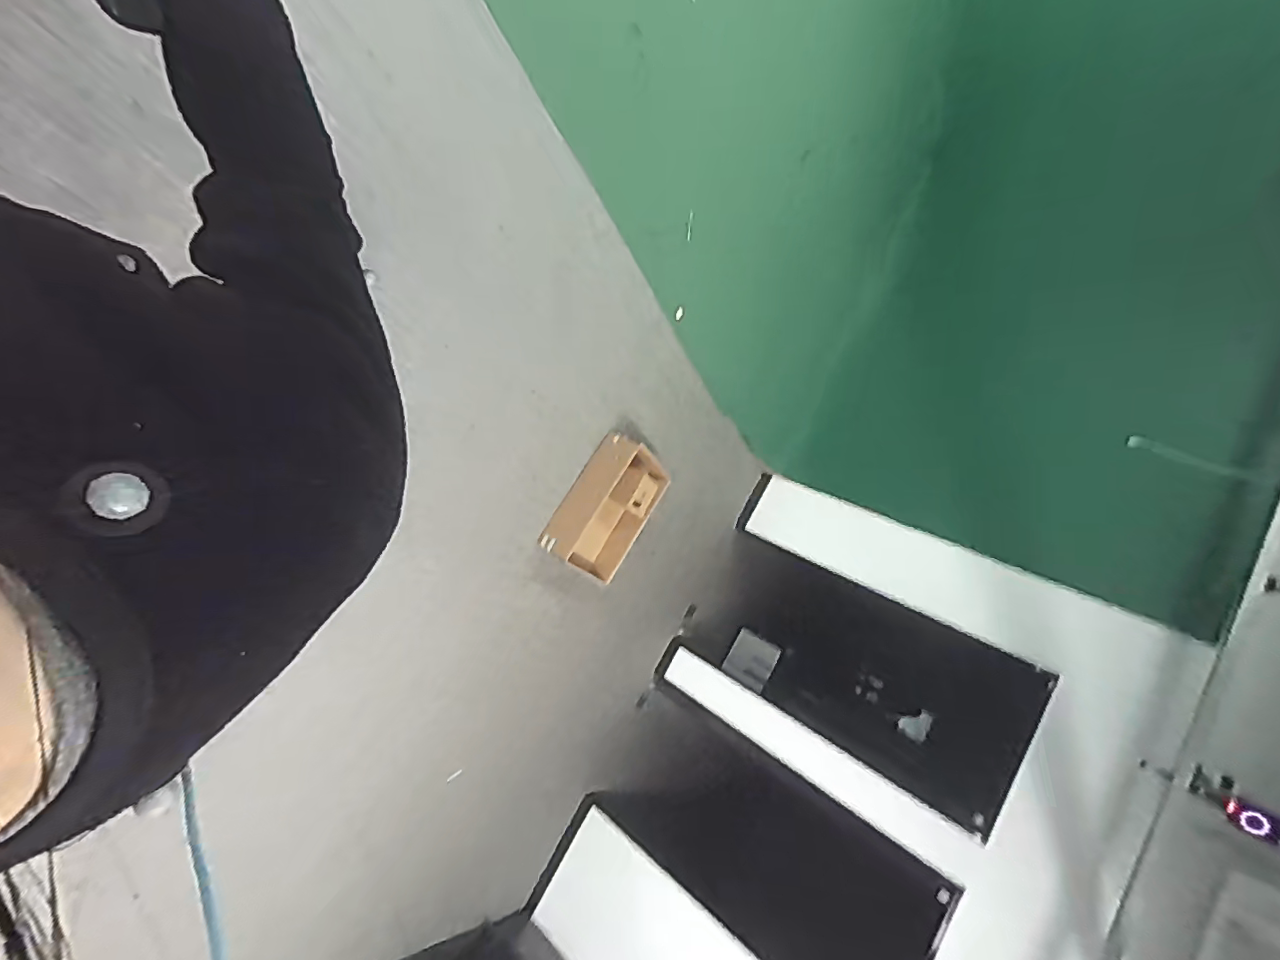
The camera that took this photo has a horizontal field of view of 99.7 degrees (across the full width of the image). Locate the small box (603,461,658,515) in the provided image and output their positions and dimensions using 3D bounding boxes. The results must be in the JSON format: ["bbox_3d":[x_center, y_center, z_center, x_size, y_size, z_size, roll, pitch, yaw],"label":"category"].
[{"bbox_3d":[-0.050,0.037,2.512,0.179,0.176,0.168,-63,147,-8],"label":"small box"}]
